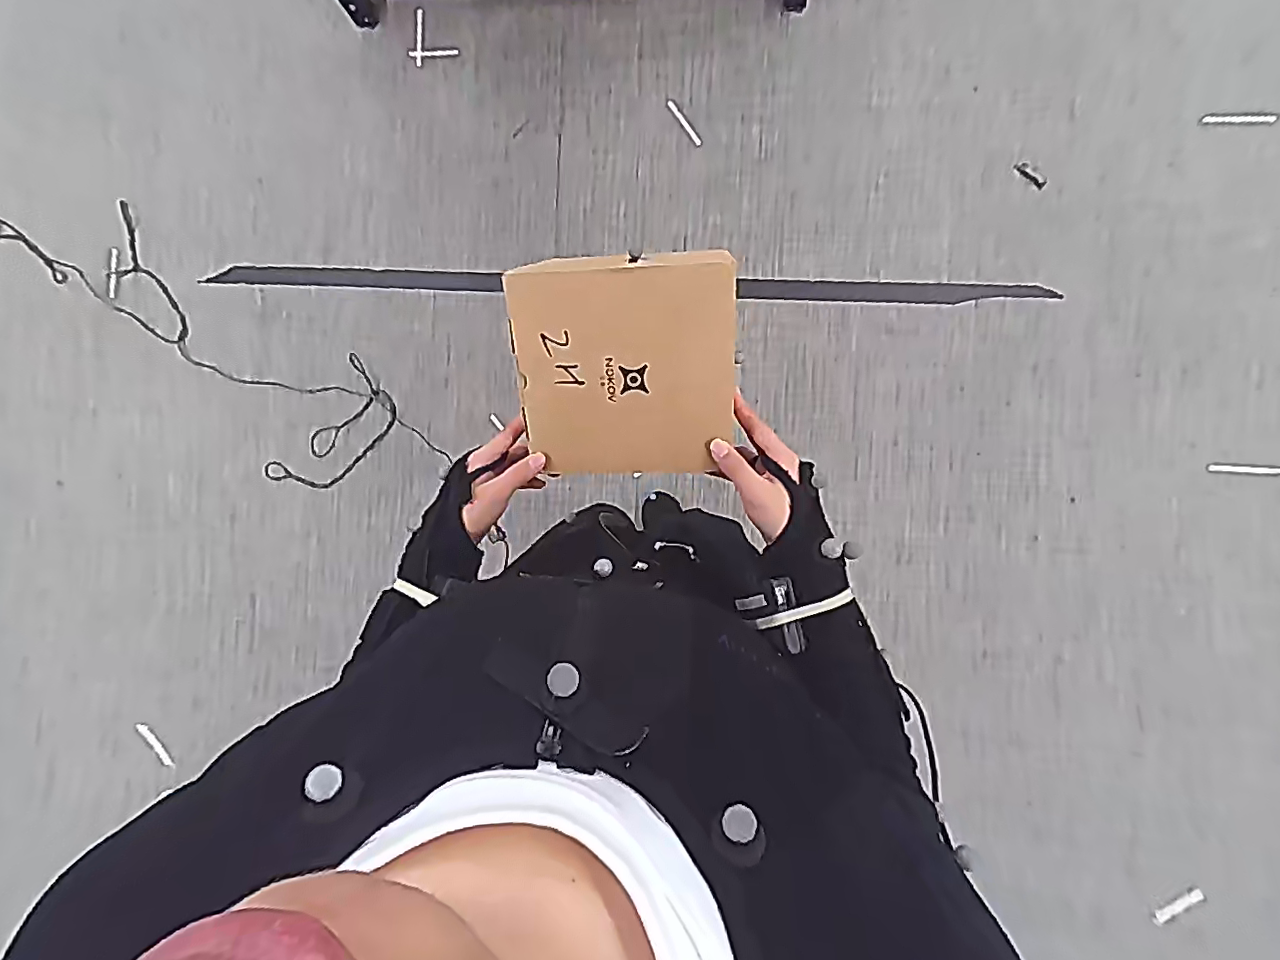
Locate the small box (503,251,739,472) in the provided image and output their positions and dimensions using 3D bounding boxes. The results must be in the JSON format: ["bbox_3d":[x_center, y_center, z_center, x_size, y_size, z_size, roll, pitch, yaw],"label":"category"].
[{"bbox_3d":[-0.006,-0.116,0.496,0.179,0.176,0.168,0,115,7],"label":"small box"}]
